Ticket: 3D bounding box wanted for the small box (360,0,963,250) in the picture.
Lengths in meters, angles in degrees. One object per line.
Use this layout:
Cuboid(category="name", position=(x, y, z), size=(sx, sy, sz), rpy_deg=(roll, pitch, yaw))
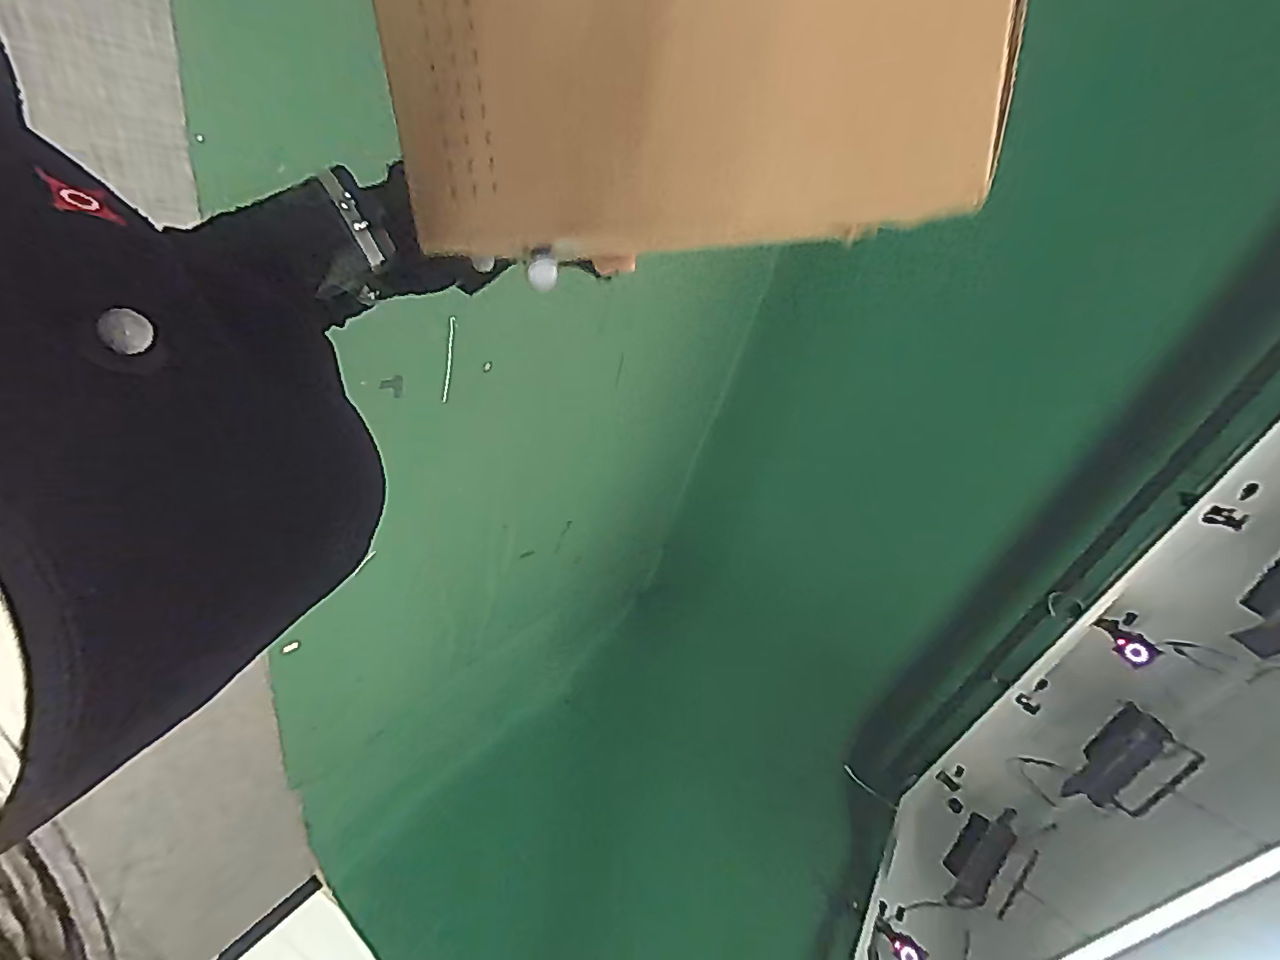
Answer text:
Cuboid(category="small box", position=(0.005, -0.190, 0.209), size=(0.168, 0.176, 0.179), rpy_deg=(-75, 161, -68))
